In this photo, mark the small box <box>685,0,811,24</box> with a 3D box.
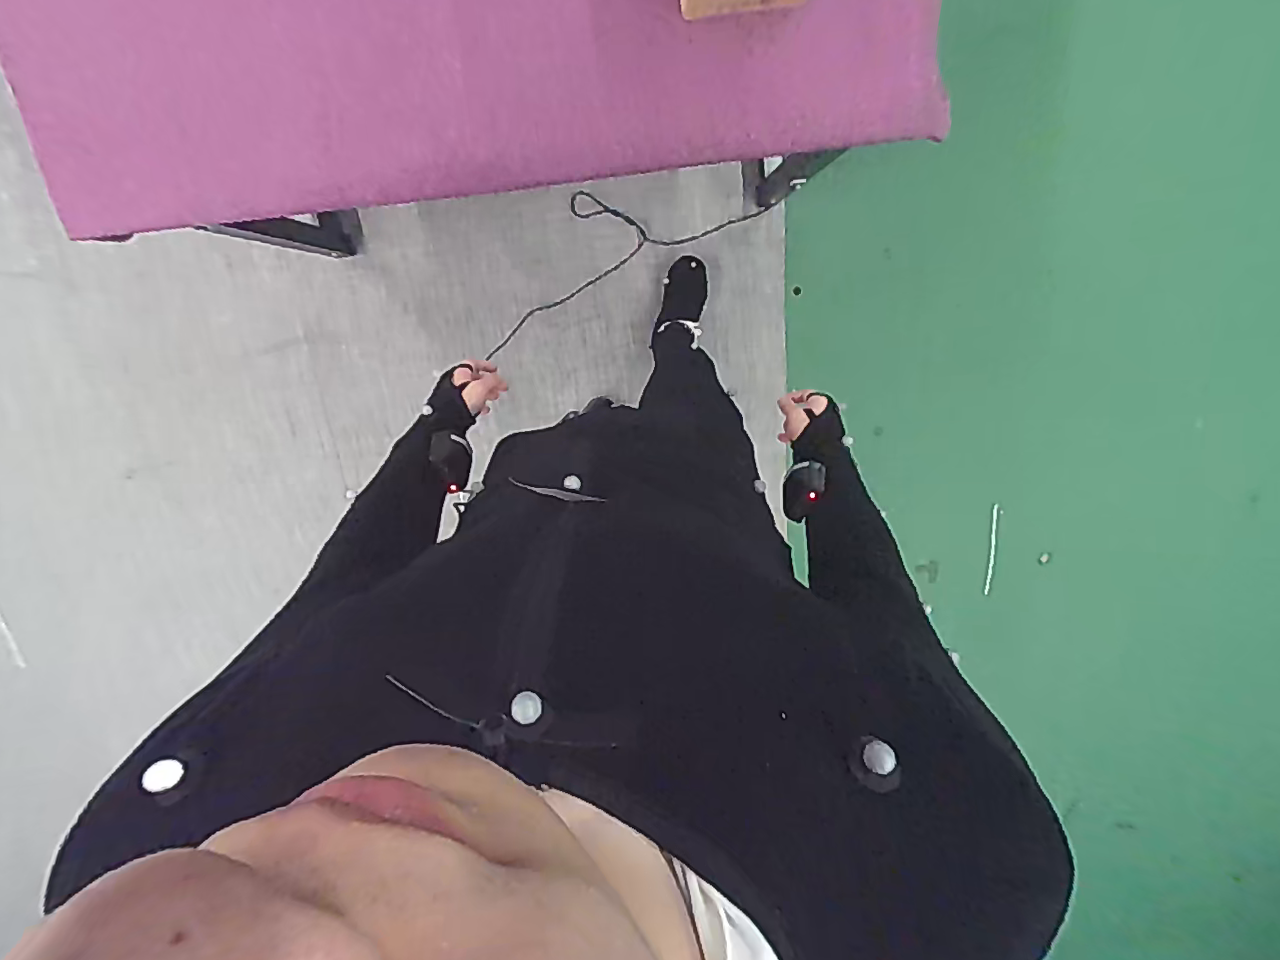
[{"bbox_3d":[0.130,-0.660,0.598,0.168,0.176,0.179,-7,105,2],"label":"small box"}]
